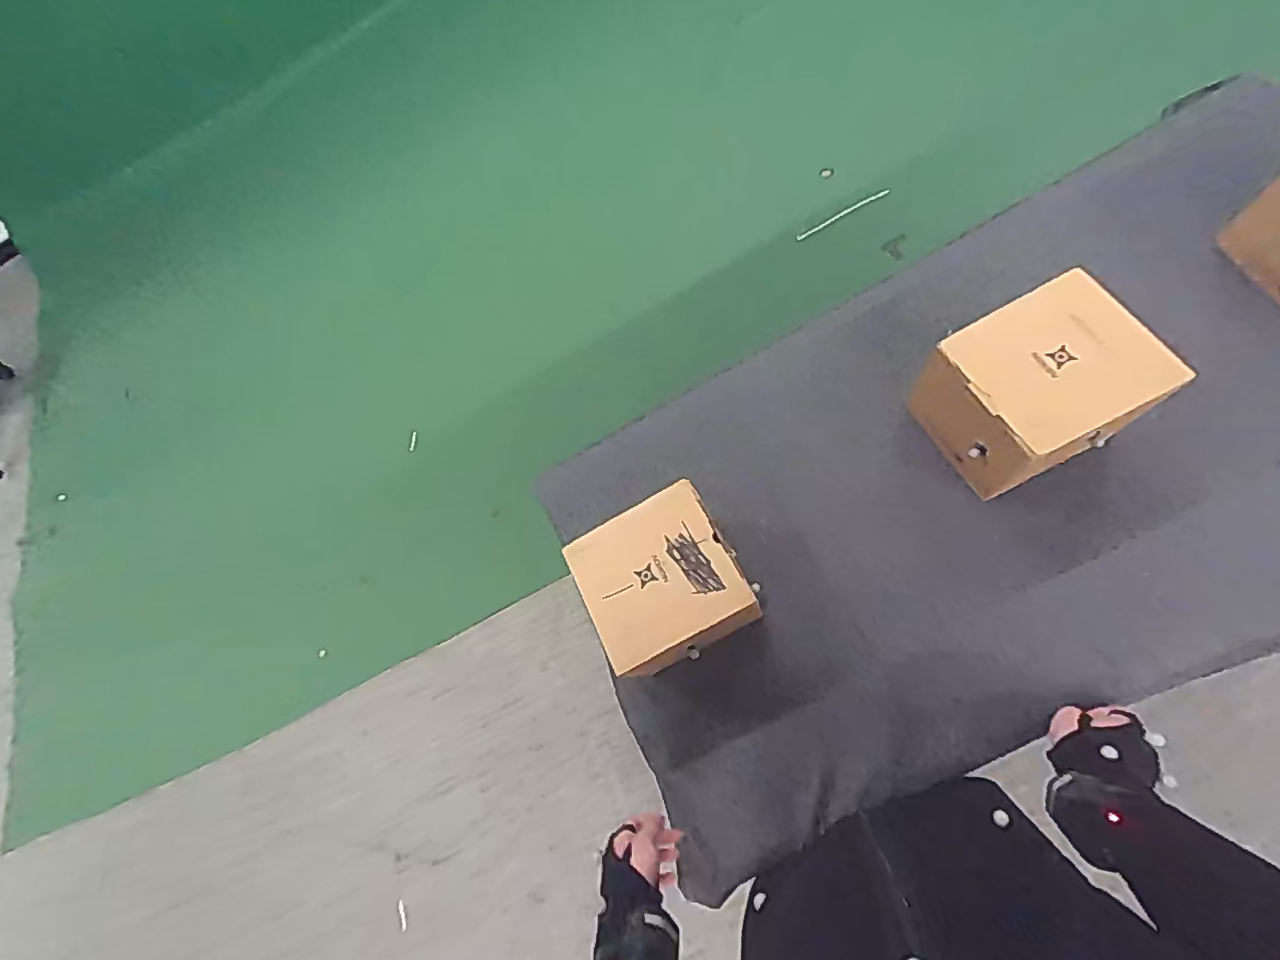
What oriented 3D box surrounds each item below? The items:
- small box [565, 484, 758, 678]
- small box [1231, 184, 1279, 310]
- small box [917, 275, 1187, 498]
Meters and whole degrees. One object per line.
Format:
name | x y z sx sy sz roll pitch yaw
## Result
small box | 0.036 0.133 0.687 0.179 0.176 0.168 -29 67 4
small box | 0.852 -0.298 0.613 0.179 0.176 0.168 -23 68 7
small box | 0.465 -0.099 0.654 0.179 0.176 0.168 -28 68 3
